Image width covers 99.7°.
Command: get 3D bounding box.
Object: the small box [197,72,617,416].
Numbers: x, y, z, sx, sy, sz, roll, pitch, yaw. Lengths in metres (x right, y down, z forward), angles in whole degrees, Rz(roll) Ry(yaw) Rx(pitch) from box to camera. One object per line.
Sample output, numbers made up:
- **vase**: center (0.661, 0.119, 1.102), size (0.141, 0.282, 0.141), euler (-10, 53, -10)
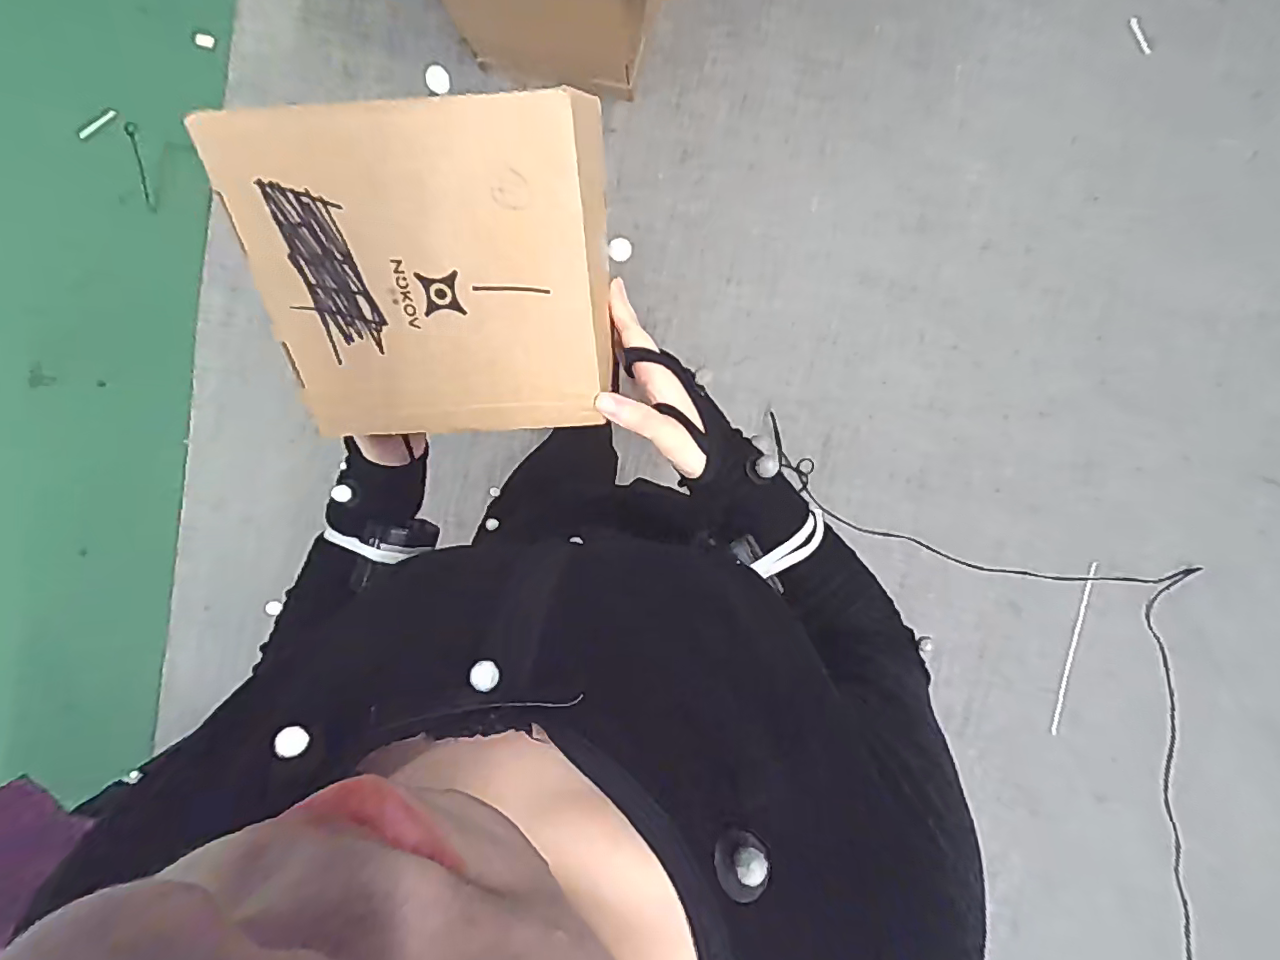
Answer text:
- **small box**: center (-0.112, -0.153, 0.351), size (0.179, 0.176, 0.168), euler (-2, 124, 2)
